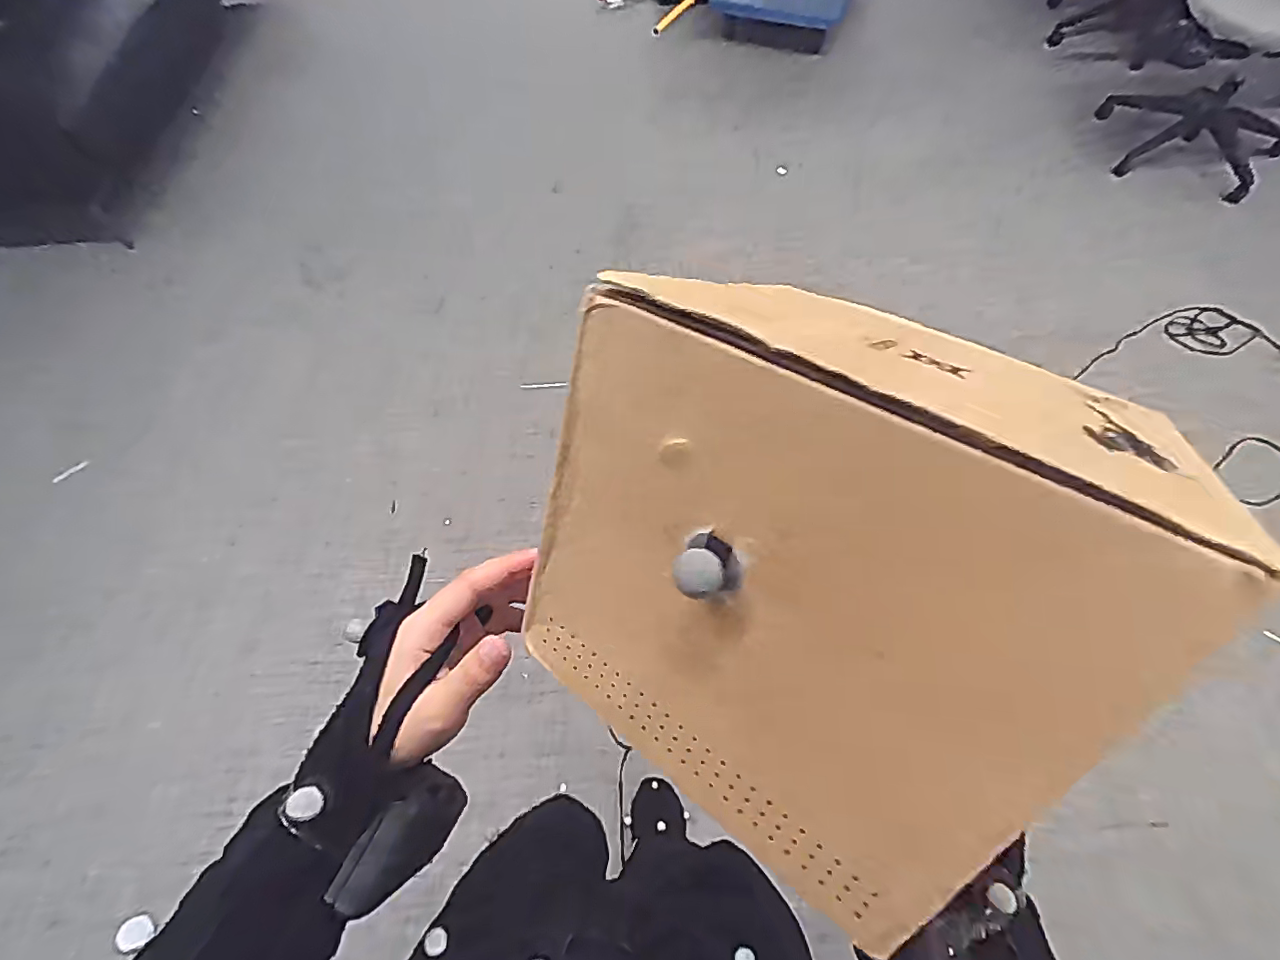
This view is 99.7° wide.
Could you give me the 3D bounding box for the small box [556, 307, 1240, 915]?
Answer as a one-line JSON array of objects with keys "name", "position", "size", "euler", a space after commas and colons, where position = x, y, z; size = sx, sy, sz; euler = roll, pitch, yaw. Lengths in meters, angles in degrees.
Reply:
[{"name": "small box", "position": [0.082, 0.032, 0.243], "size": [0.179, 0.176, 0.168], "euler": [29, 33, 26]}]
